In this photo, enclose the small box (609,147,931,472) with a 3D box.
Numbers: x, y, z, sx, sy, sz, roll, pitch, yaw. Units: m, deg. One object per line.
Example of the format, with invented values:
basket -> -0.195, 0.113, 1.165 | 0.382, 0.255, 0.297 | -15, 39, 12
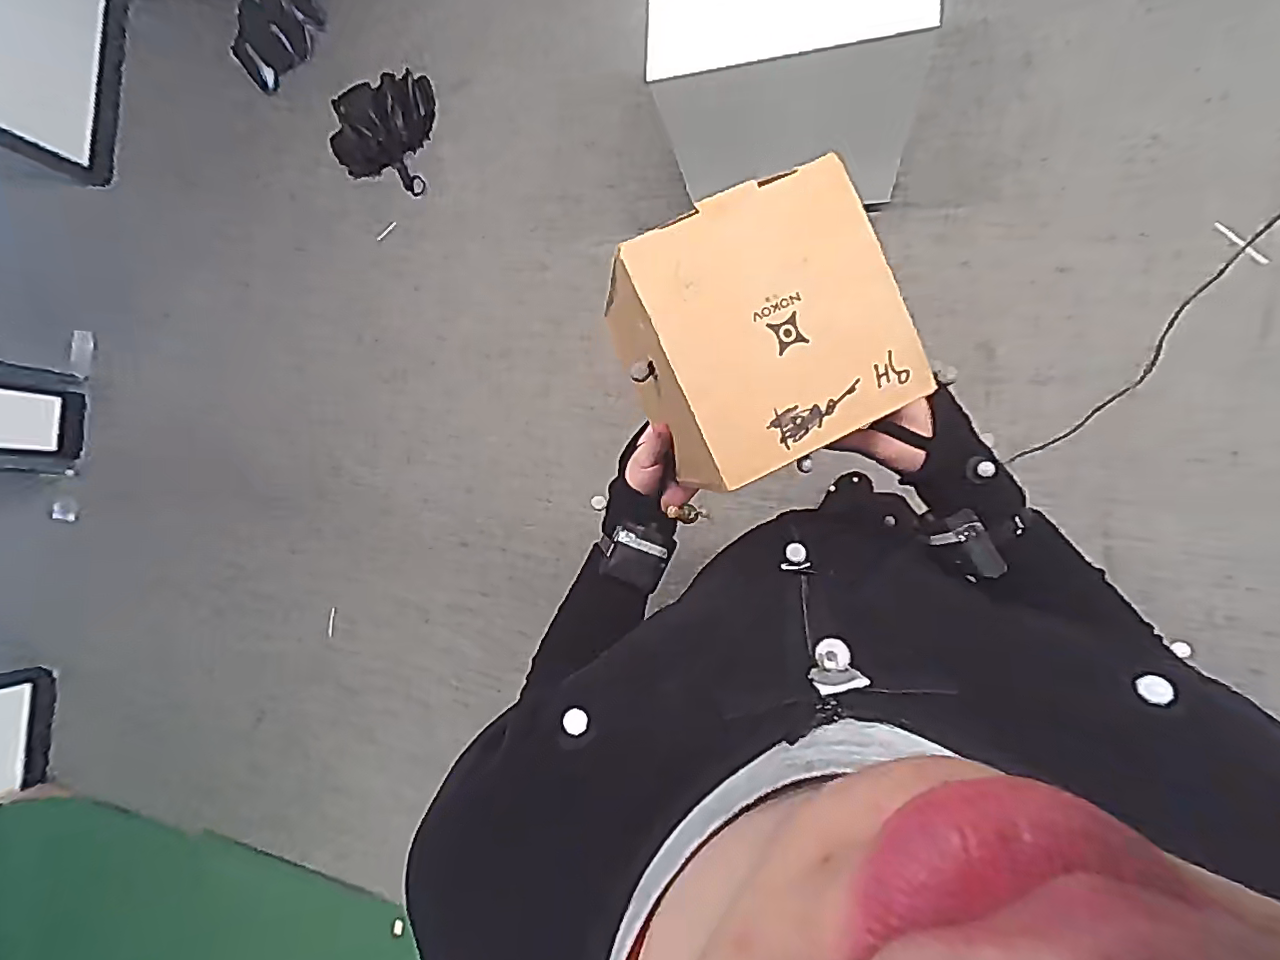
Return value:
small box -> 0.083, -0.114, 0.436 | 0.168, 0.176, 0.179 | -24, 95, -6
